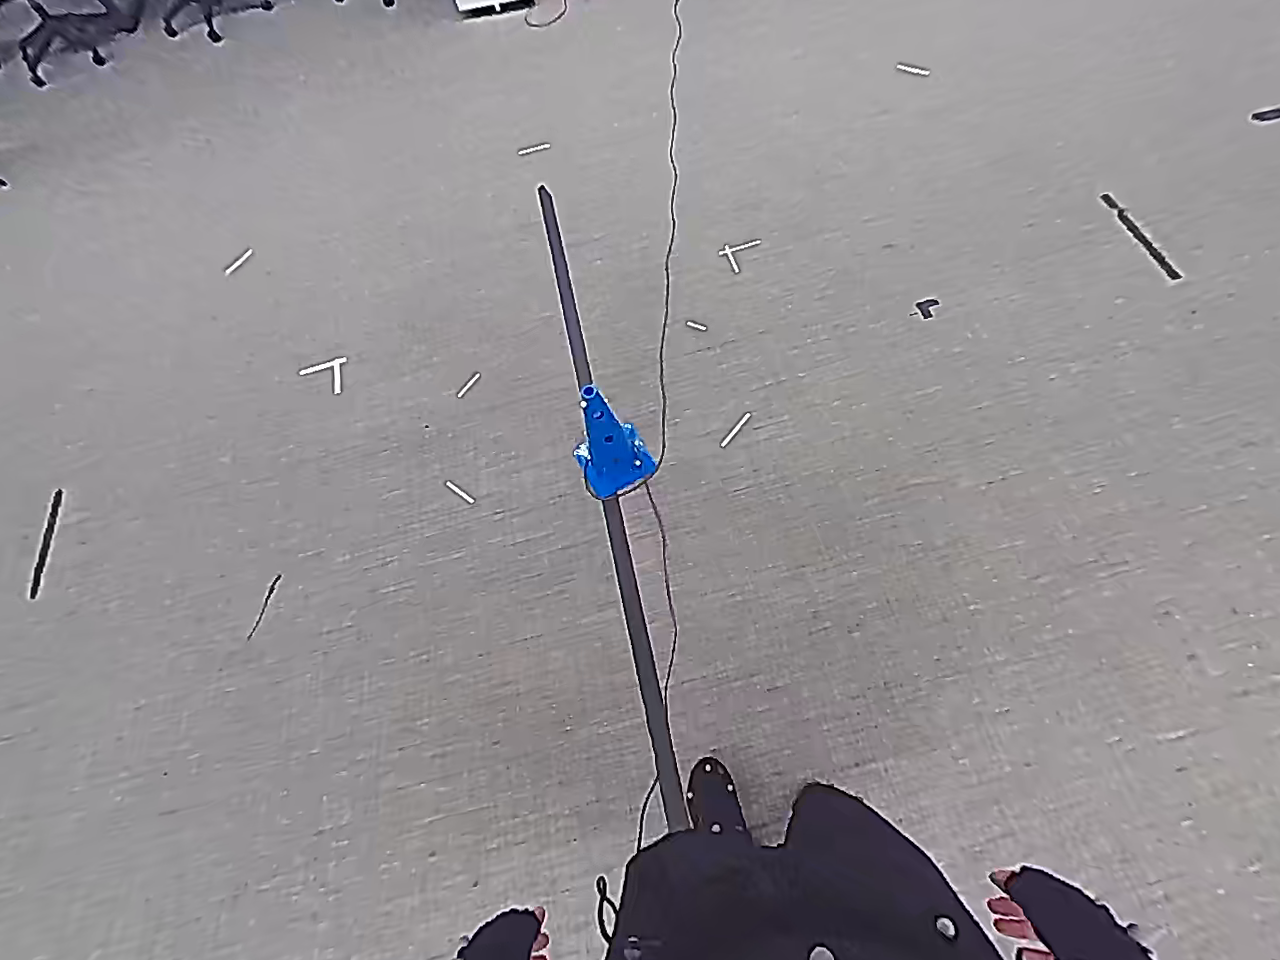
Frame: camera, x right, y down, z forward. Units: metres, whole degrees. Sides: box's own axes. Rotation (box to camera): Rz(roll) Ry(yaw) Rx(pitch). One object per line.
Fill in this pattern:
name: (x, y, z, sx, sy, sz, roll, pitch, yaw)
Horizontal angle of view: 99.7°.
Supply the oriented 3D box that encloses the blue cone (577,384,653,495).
blue cone: (-0.097, -0.140, 1.461, 0.193, 0.380, 0.192, -29, 63, -7)
